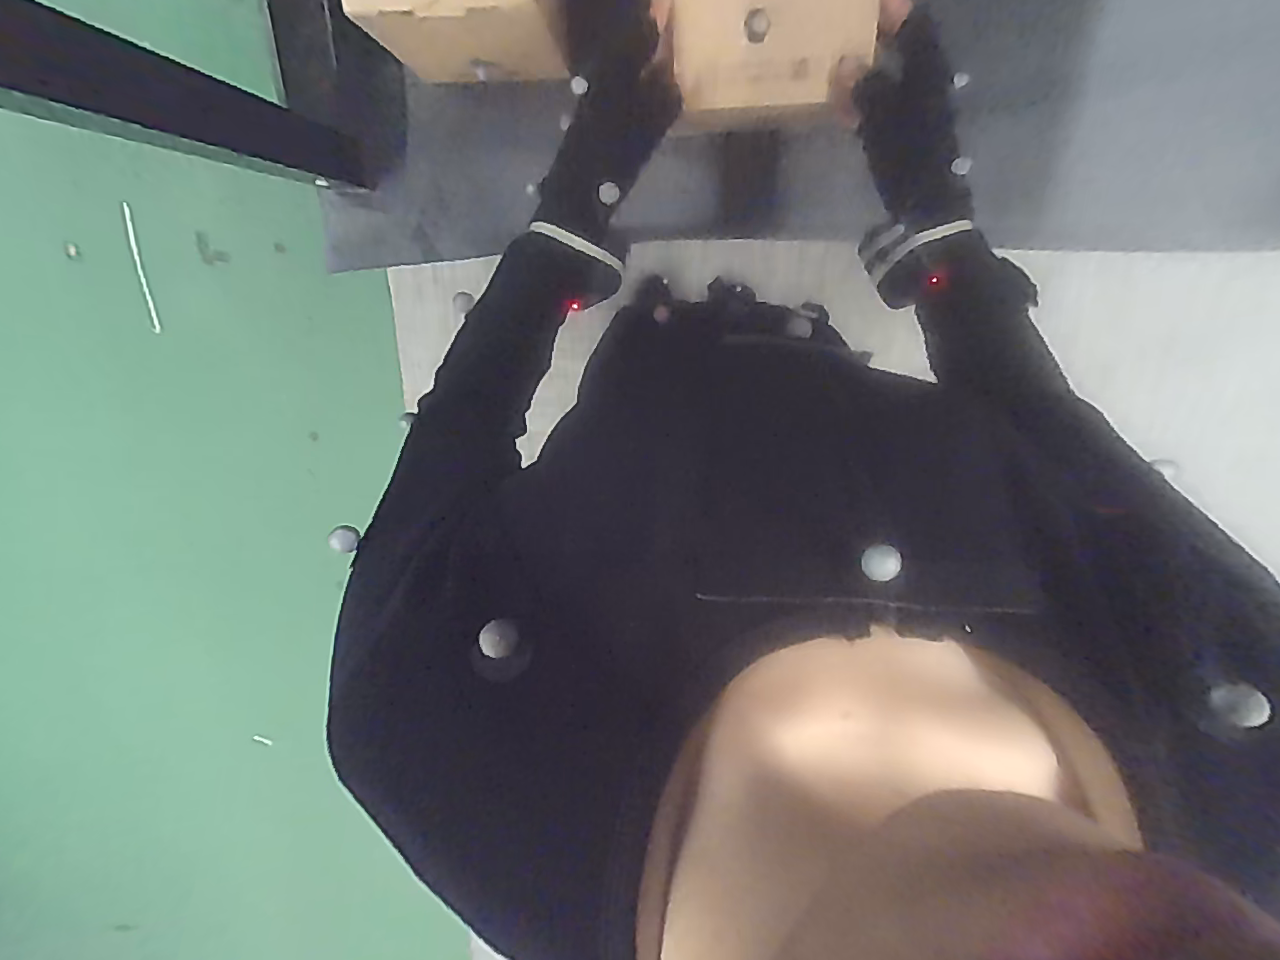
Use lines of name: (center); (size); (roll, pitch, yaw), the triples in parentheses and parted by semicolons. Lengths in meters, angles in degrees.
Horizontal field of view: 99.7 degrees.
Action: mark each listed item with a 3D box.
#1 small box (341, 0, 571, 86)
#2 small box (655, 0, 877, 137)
small box: (-0.160, -0.491, 0.491); (0.168, 0.176, 0.179); (1, 109, 4)
small box: (0.099, -0.415, 0.483); (0.168, 0.179, 0.176); (-4, 117, 0)
